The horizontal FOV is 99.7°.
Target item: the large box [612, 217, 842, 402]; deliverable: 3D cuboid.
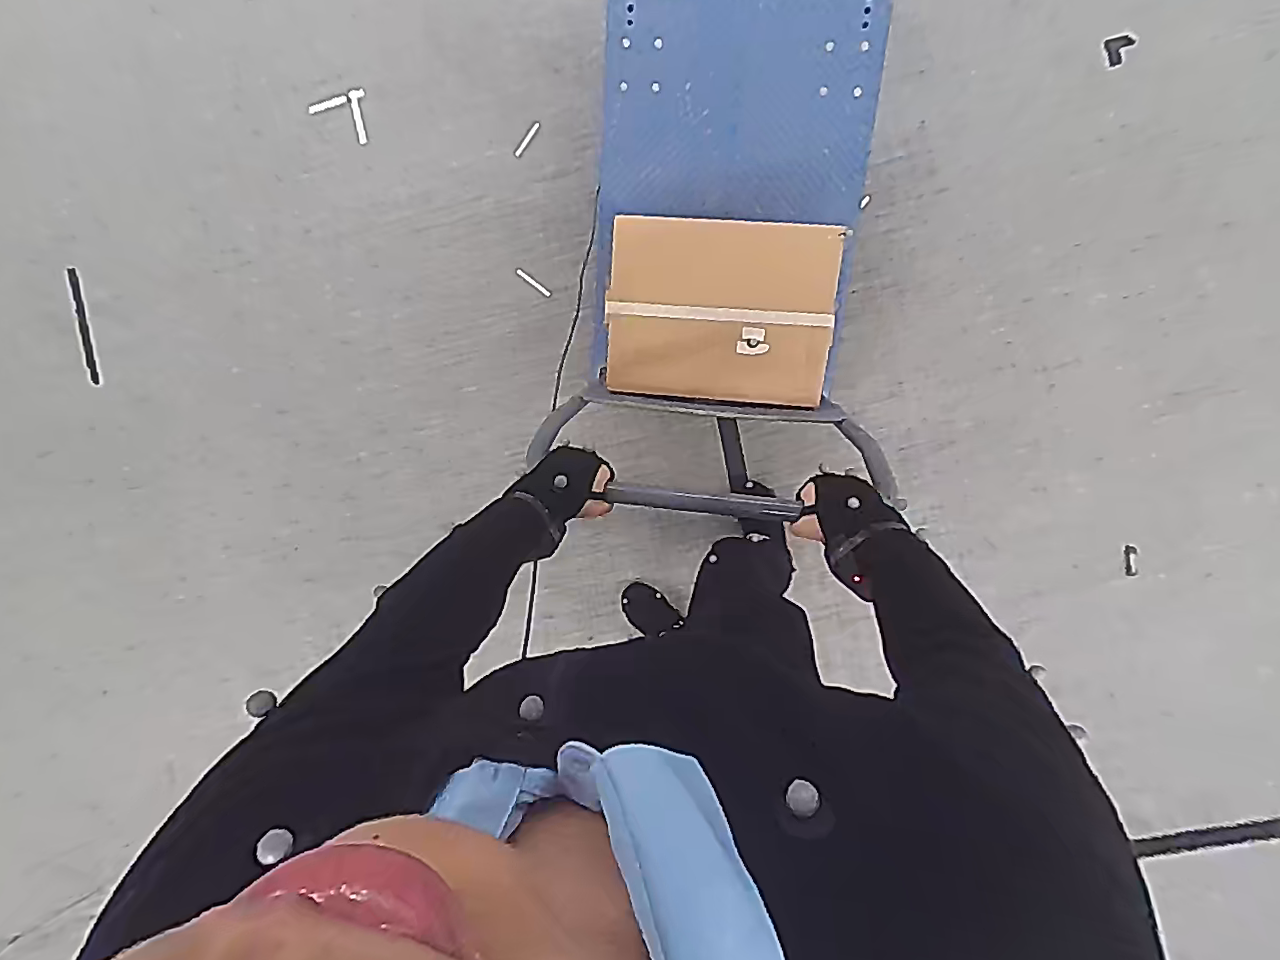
[{"bbox_3d":[0.163,-0.348,1.142,0.408,0.320,0.320,5,106,5],"label":"large box"}]
